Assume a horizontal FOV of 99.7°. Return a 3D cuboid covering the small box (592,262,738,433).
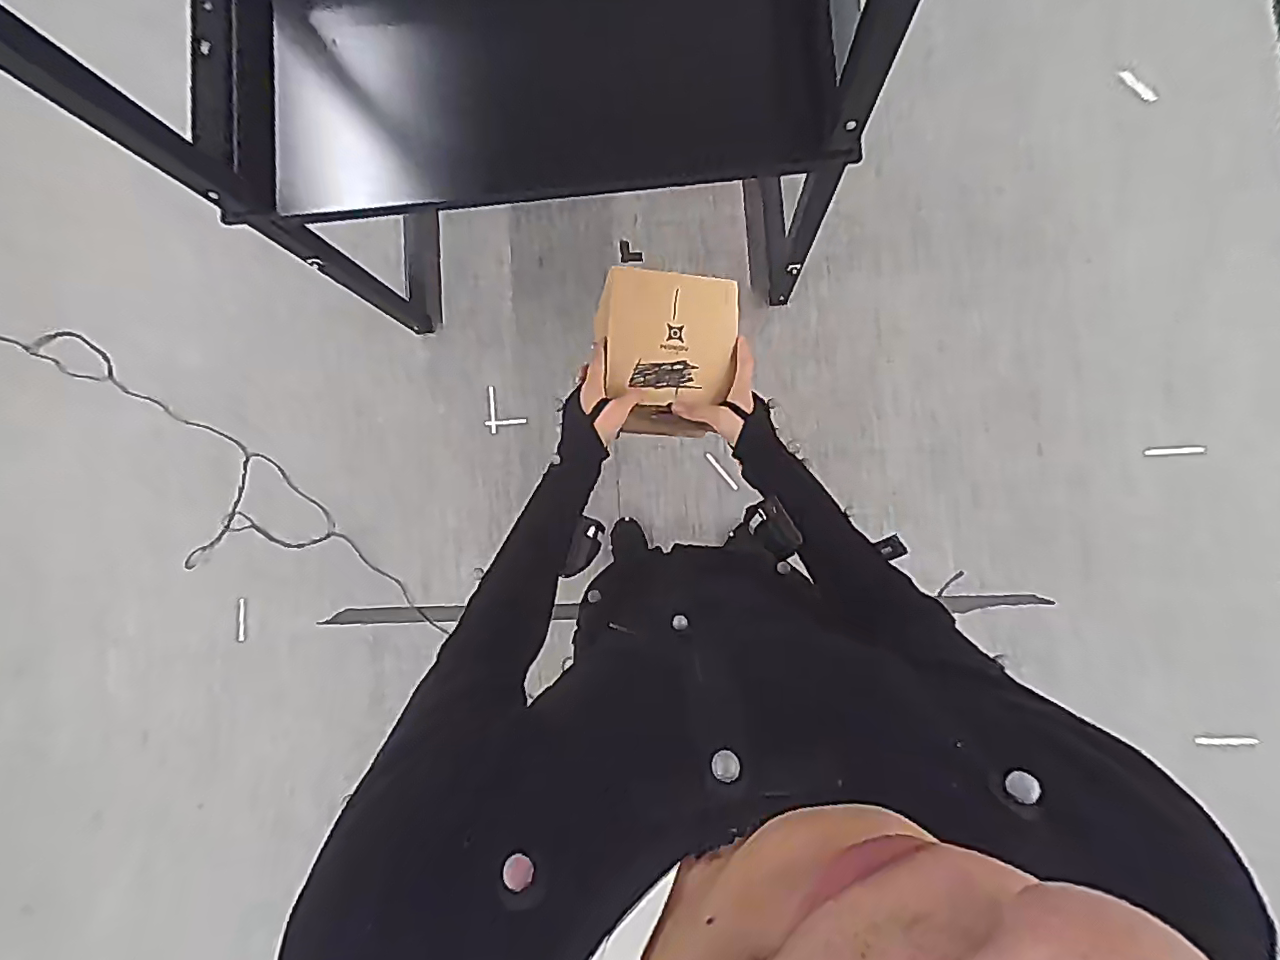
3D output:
[{"bbox_3d":[0.025,-0.166,0.736,0.168,0.176,0.179,3,83,-10],"label":"small box"}]
